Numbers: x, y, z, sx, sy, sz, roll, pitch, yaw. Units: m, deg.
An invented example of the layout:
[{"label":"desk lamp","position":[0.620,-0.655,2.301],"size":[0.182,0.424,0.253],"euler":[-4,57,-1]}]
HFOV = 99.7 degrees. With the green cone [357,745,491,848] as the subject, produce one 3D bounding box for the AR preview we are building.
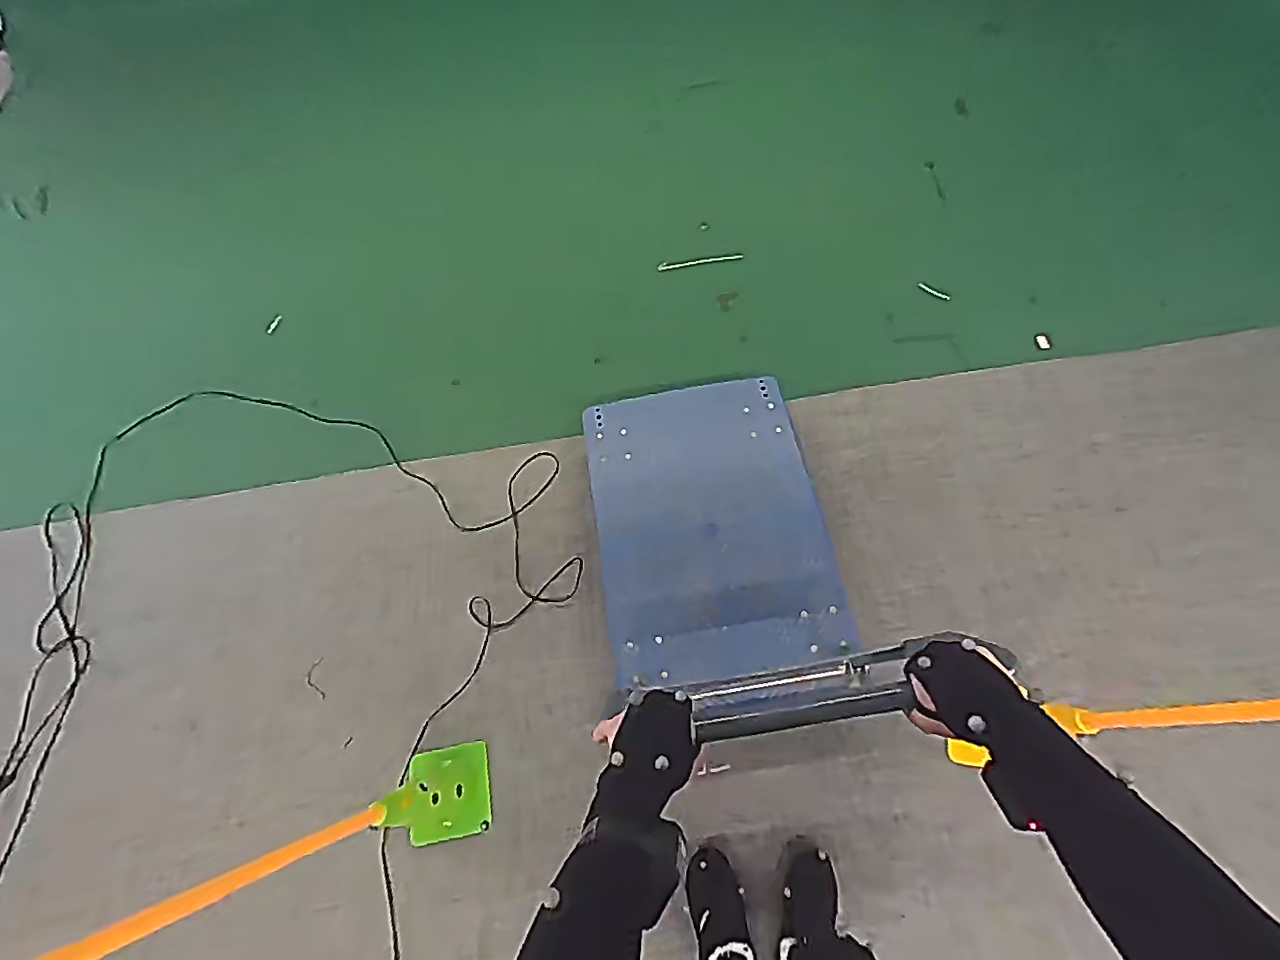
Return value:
[{"label":"green cone","position":[-0.488,0.704,1.176],"size":[0.202,0.368,0.200],"euler":[-13,65,1]}]
